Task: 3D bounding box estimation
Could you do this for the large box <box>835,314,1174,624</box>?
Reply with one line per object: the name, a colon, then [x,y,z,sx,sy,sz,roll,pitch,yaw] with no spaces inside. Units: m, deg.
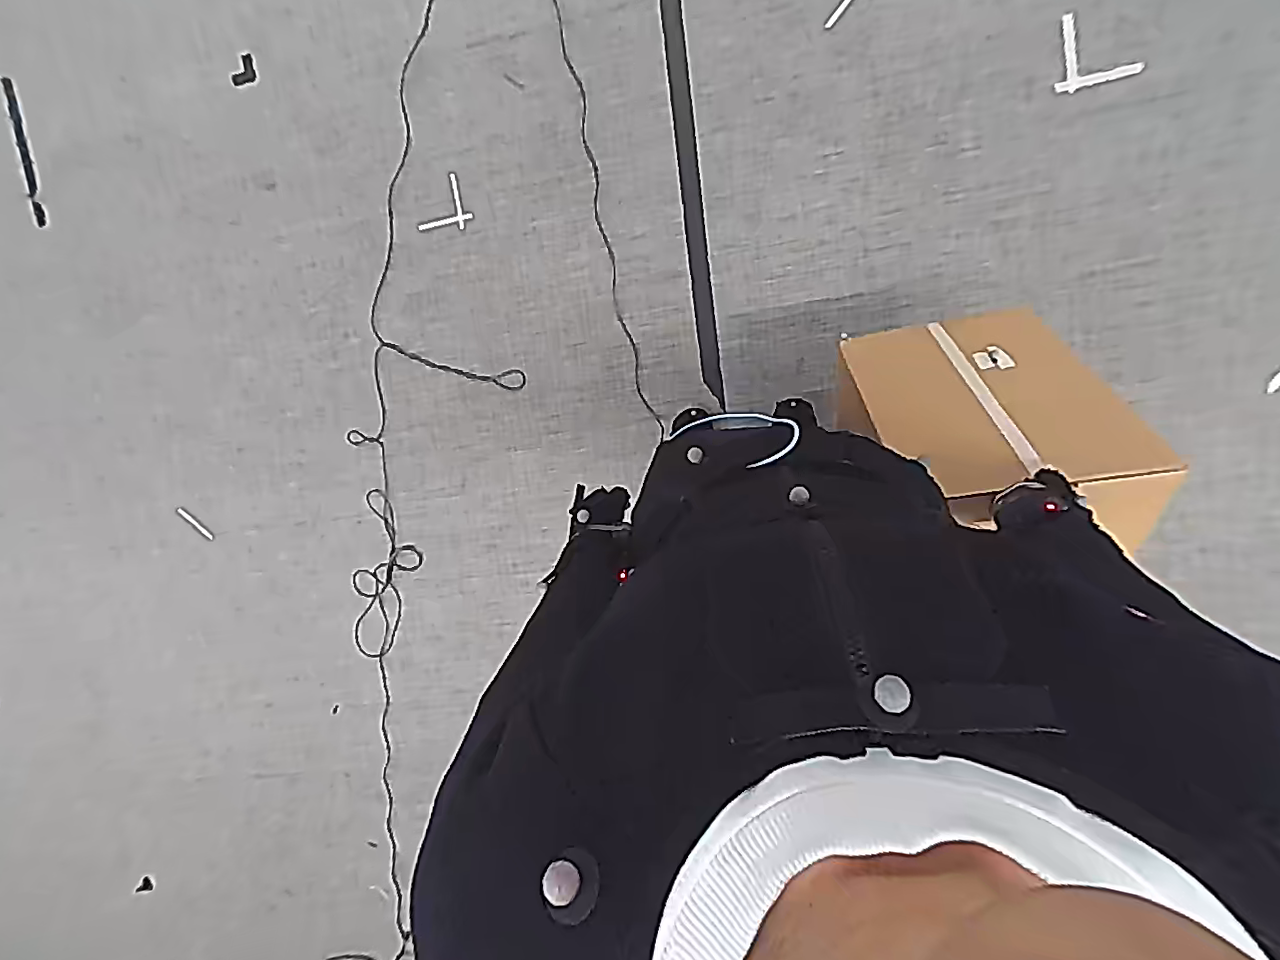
large box: [0.538,-0.022,0.917,0.320,0.408,0.320,-9,132,10]
